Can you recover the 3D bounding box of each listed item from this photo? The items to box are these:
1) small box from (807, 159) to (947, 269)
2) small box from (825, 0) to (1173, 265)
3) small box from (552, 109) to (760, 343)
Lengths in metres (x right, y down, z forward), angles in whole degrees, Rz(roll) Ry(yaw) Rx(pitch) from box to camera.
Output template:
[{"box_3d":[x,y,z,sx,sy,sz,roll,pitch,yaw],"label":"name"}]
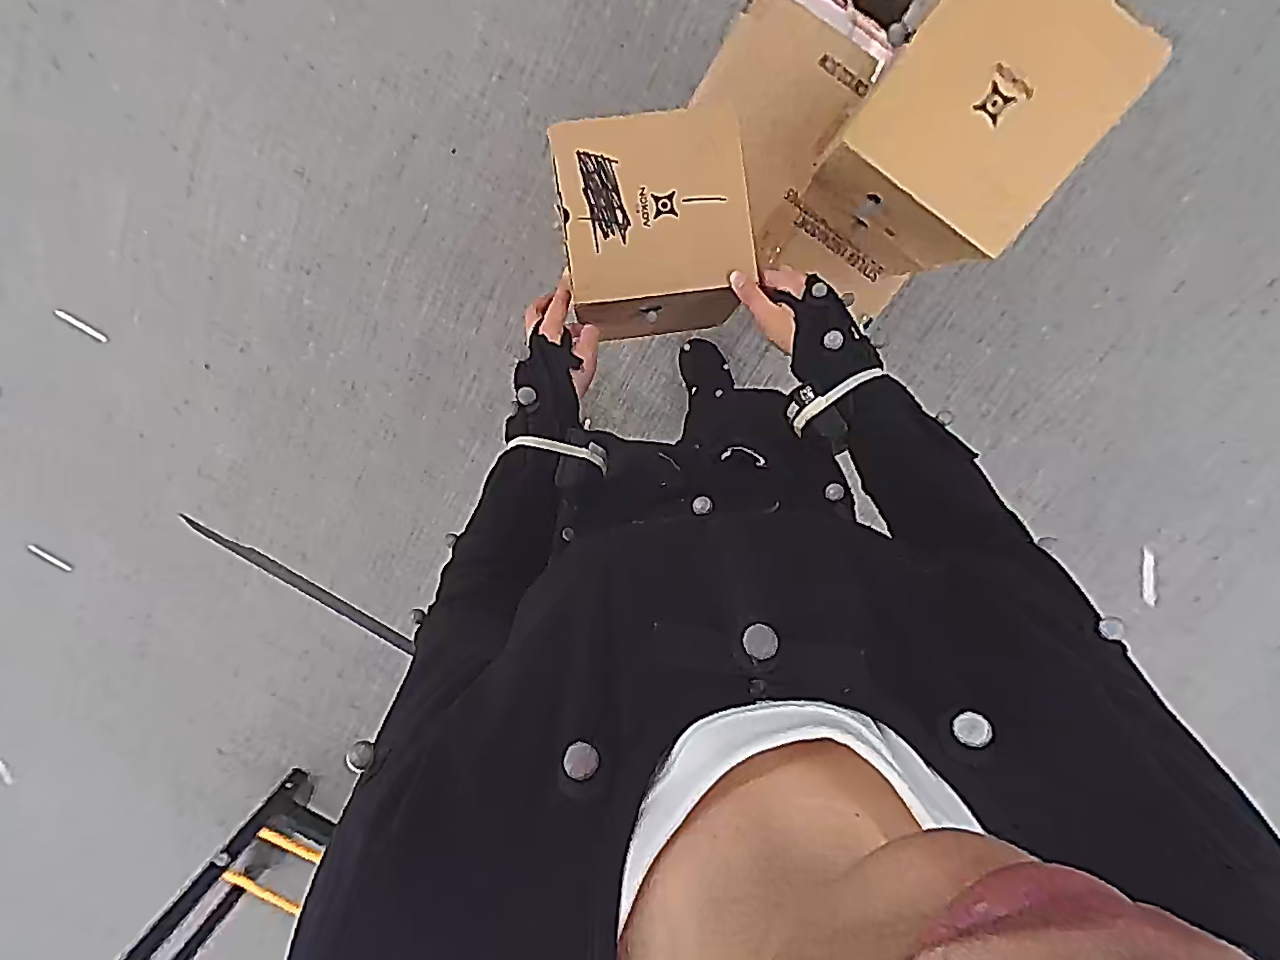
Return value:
[{"box_3d":[0.325,-0.370,0.646,0.179,0.176,0.168,37,110,-6],"label":"small box"},{"box_3d":[0.292,-0.319,0.495,0.168,0.176,0.179,35,109,-4],"label":"small box"},{"box_3d":[0.013,-0.251,0.575,0.179,0.176,0.168,-8,93,-3],"label":"small box"}]
